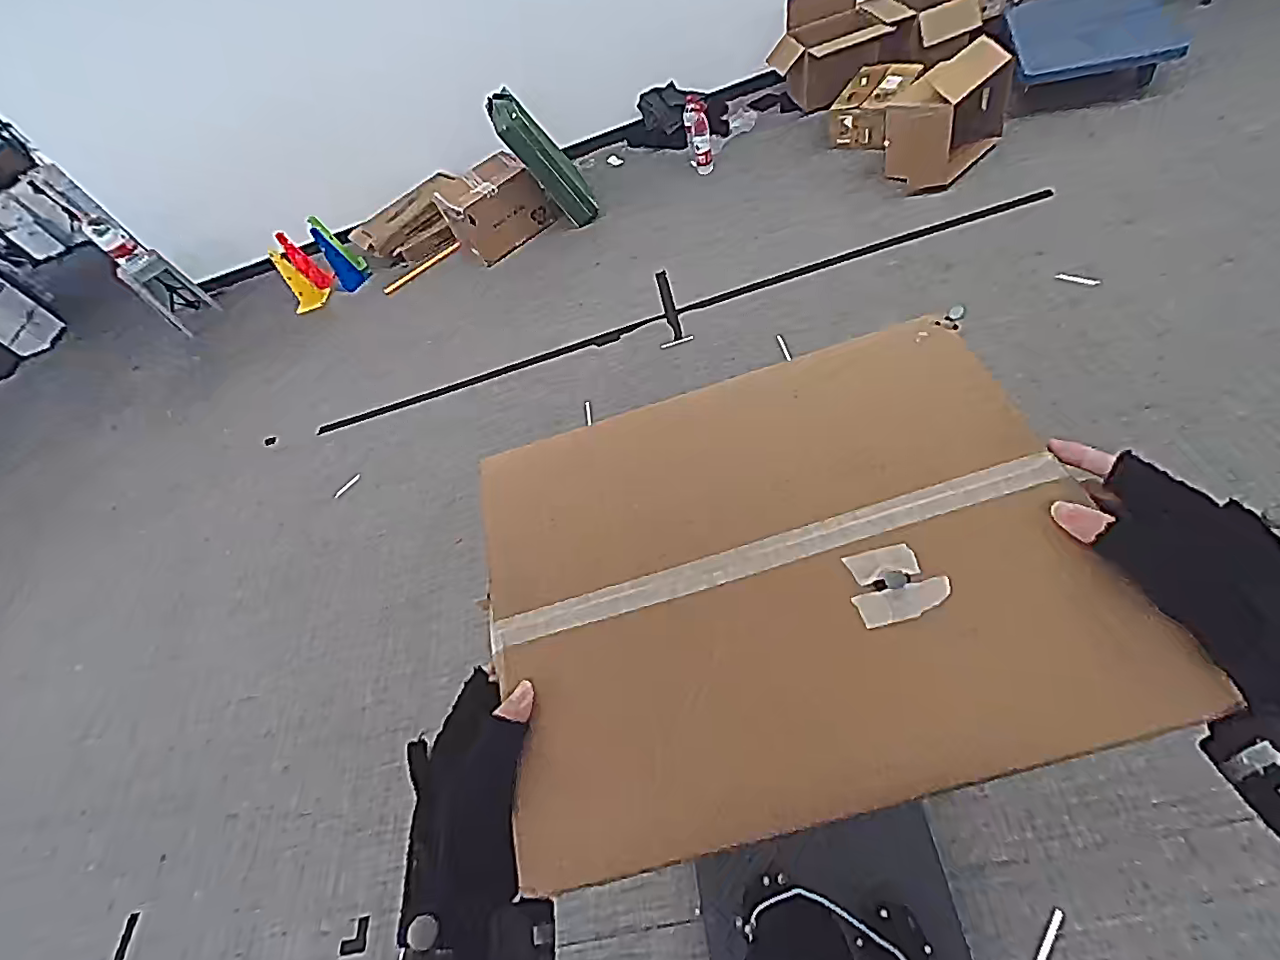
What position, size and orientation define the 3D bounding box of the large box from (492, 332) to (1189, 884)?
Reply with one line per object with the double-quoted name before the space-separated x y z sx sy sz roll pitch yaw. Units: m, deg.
"large box" 0.120 0.131 0.519 0.408 0.320 0.320 -18 59 3
